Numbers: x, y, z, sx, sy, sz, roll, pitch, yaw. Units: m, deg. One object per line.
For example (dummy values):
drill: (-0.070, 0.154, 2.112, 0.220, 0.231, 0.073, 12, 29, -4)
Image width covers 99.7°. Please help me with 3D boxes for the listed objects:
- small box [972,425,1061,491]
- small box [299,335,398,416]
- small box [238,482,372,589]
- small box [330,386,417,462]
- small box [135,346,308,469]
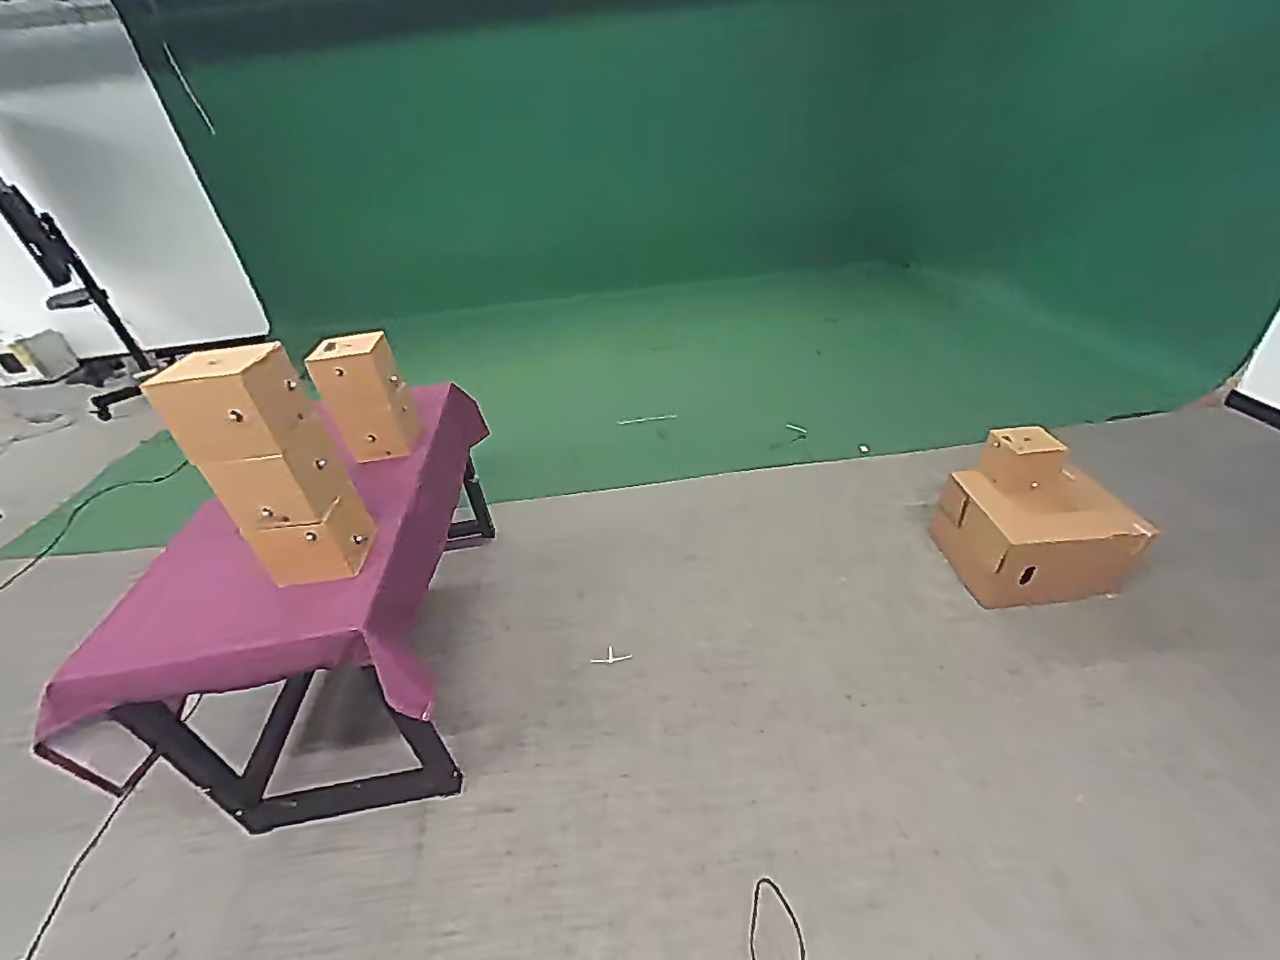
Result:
small box: (1.310, -0.076, 1.896, 0.179, 0.176, 0.168, -4, 33, 0)
small box: (-0.829, -0.299, 1.557, 0.179, 0.176, 0.168, -9, 36, -4)
small box: (-0.745, 0.128, 1.225, 0.179, 0.176, 0.168, -8, 35, -3)
small box: (-0.804, -0.166, 1.652, 0.168, 0.176, 0.179, -8, 35, -2)
small box: (-0.784, -0.141, 1.041, 0.179, 0.176, 0.168, -8, 34, -1)
